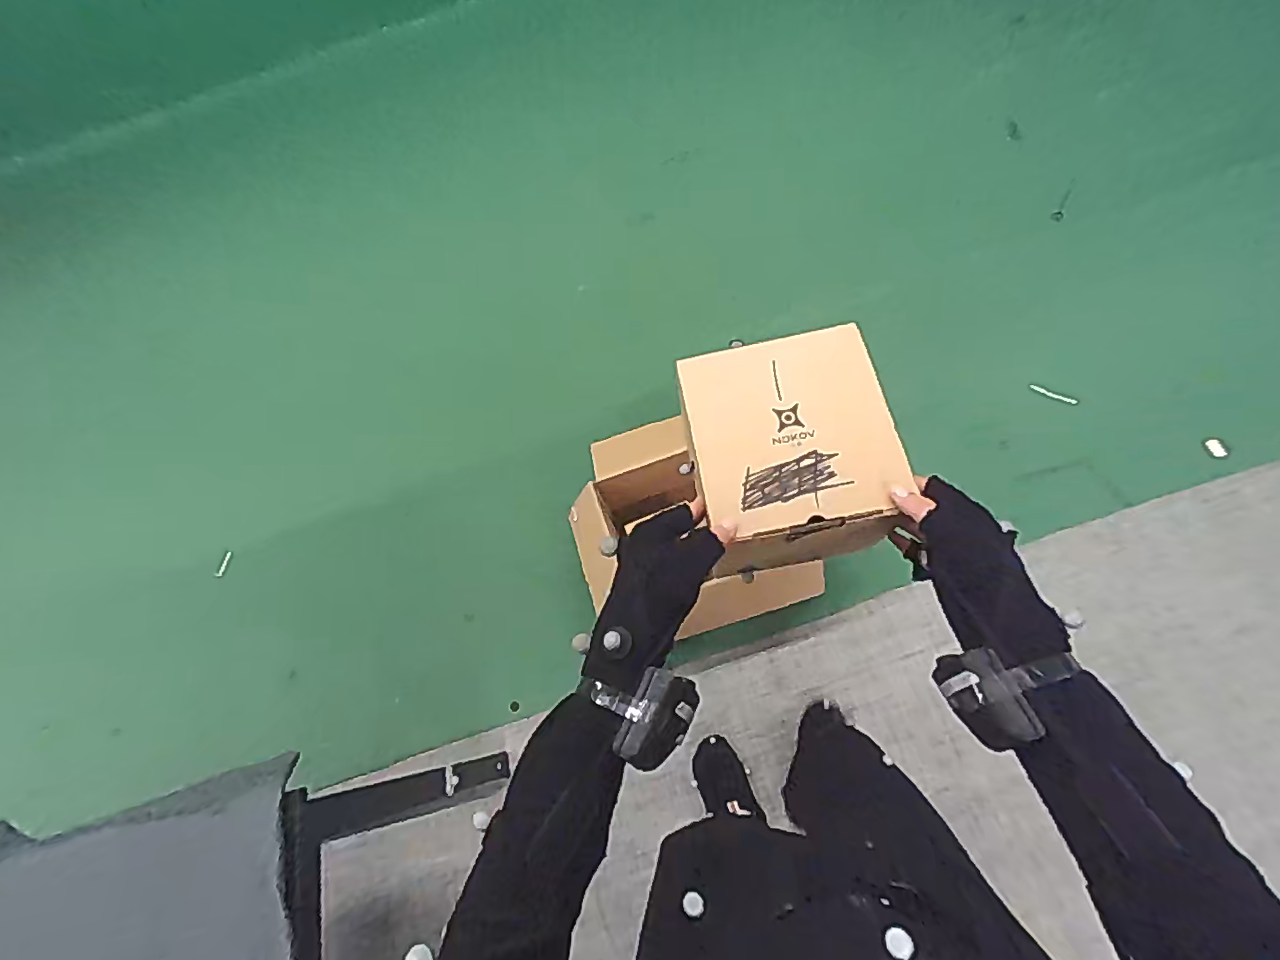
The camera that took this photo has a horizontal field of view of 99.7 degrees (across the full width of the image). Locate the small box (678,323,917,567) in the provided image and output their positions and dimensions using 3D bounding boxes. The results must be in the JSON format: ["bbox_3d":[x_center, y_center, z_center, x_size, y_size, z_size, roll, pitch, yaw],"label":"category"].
[{"bbox_3d":[0.139,-0.019,0.533,0.168,0.176,0.179,-12,69,4],"label":"small box"}]
